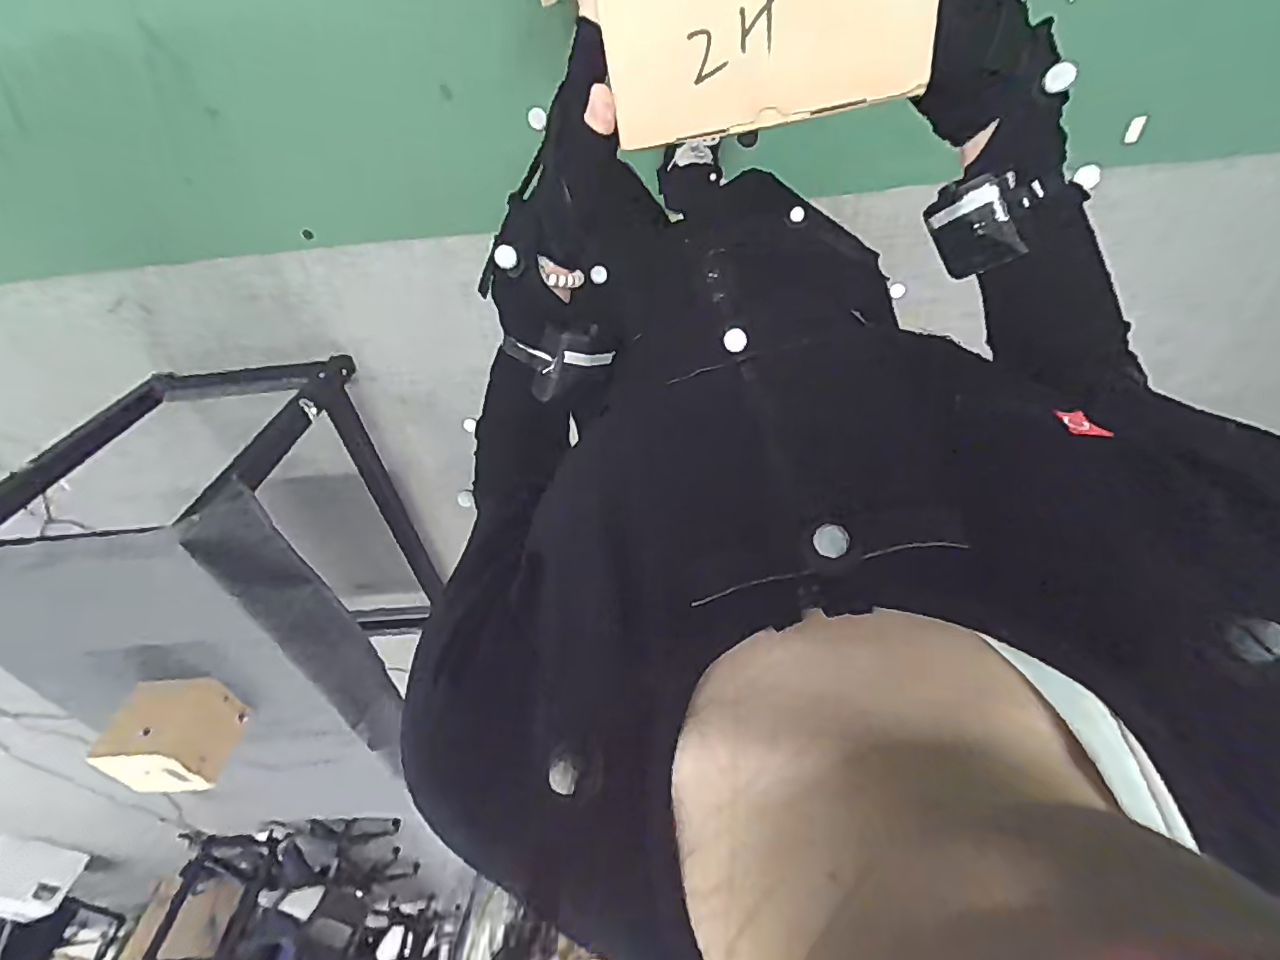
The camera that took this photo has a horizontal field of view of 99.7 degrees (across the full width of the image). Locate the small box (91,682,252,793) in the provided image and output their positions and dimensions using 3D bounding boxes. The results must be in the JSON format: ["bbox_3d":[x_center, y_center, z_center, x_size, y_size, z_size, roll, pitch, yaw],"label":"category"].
[{"bbox_3d":[-0.990,0.555,1.171,0.179,0.176,0.168,-5,129,5],"label":"small box"}]

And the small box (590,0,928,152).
[{"bbox_3d":[0.056,-0.308,0.314,0.168,0.176,0.179,-7,123,10],"label":"small box"}]
